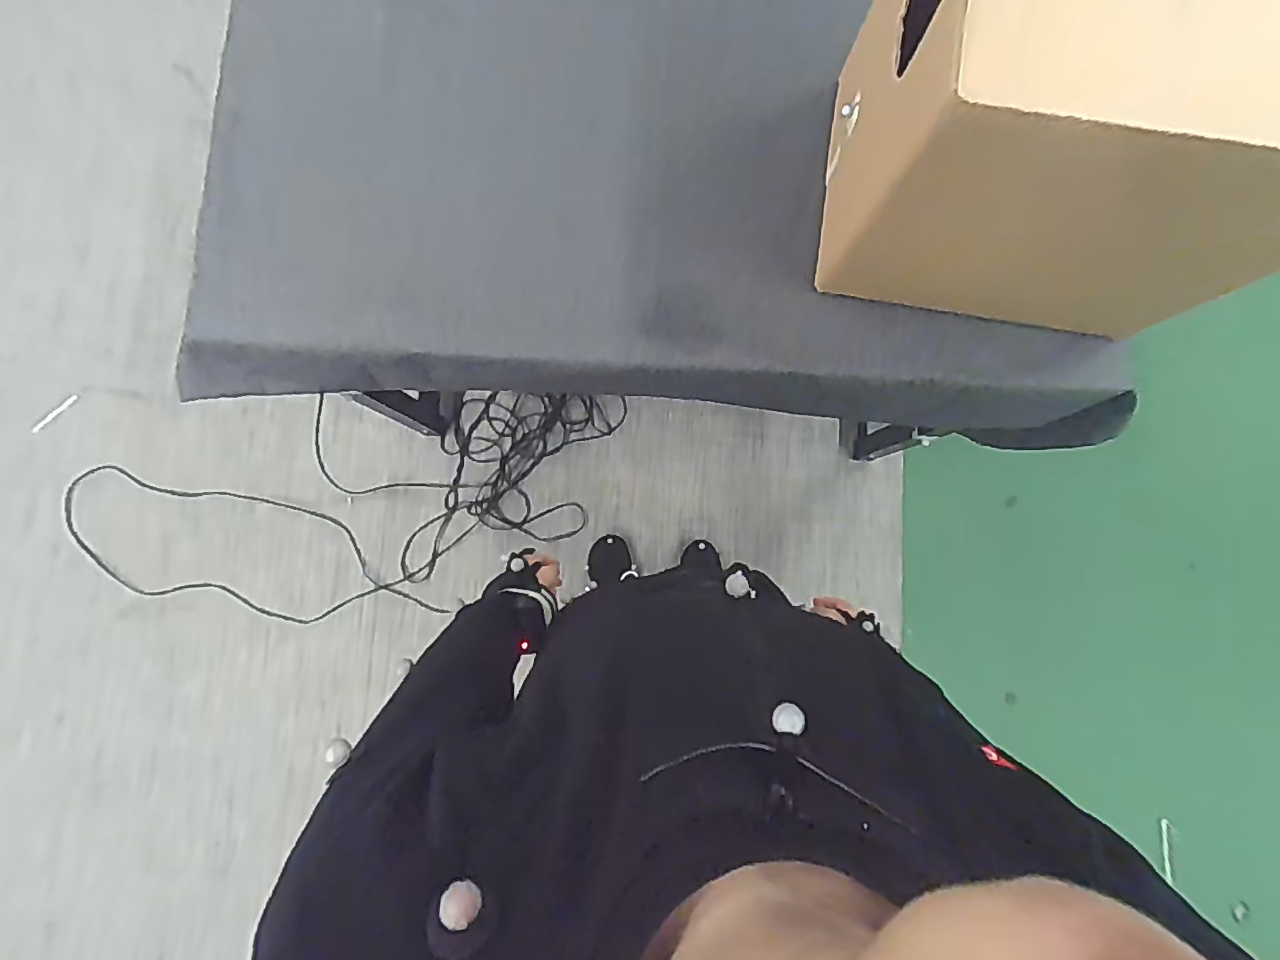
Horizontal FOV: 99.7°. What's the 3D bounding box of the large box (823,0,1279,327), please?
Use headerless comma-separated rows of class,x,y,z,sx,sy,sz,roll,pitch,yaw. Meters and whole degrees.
large box,0.446,-0.385,0.563,0.408,0.320,0.320,8,84,-1
